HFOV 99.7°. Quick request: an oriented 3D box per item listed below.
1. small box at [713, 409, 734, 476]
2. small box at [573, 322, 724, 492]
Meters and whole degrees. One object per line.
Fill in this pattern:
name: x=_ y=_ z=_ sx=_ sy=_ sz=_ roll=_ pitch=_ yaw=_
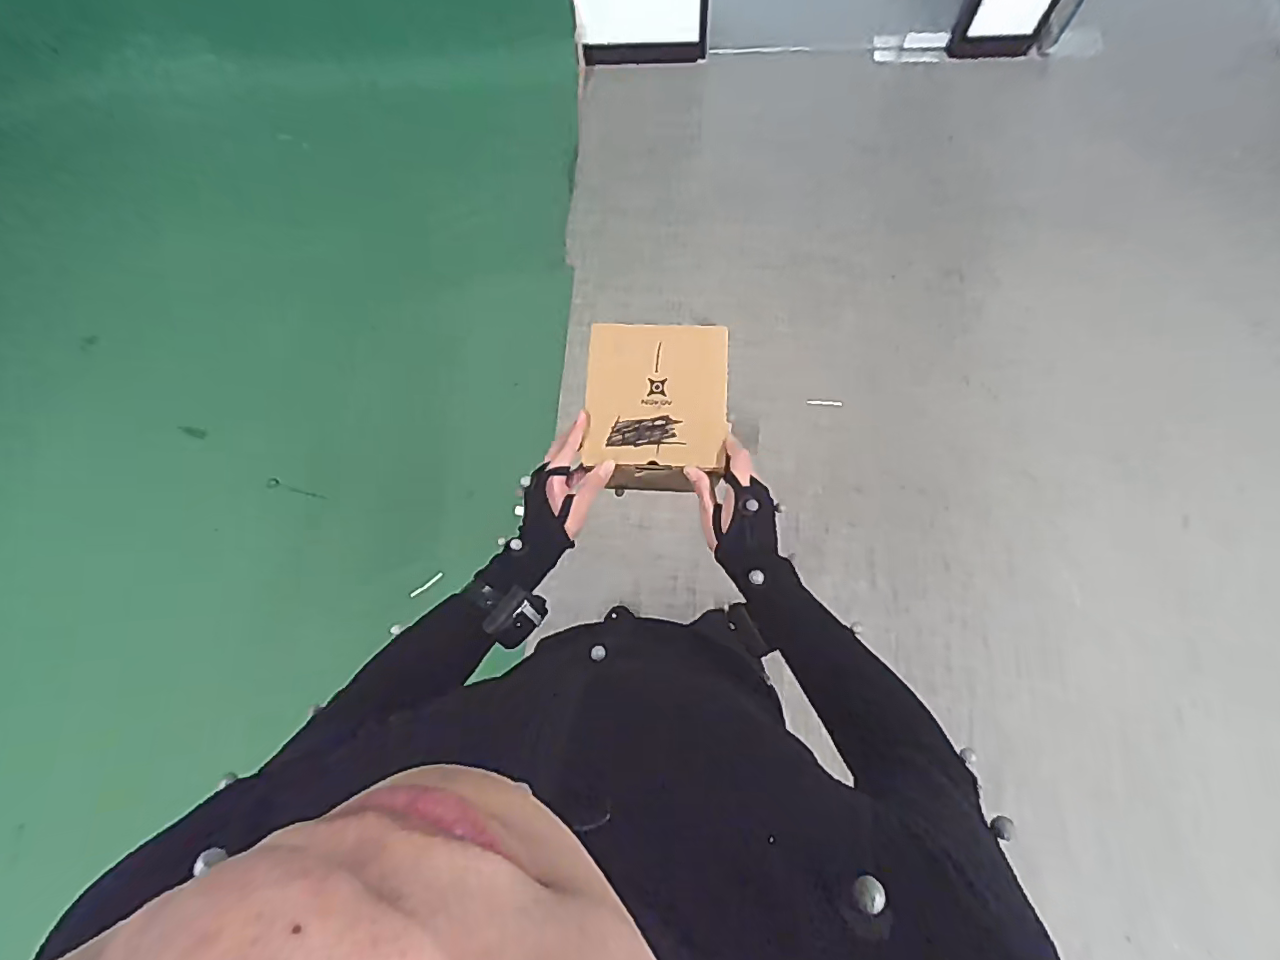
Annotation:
small box: x=0.187 y=-0.116 z=1.650 sx=0.179 sy=0.176 sz=0.168 roll=6 pitch=77 yaw=7
small box: x=0.016 y=-0.083 z=0.692 sx=0.168 sy=0.176 sz=0.179 roll=2 pitch=79 yaw=3
